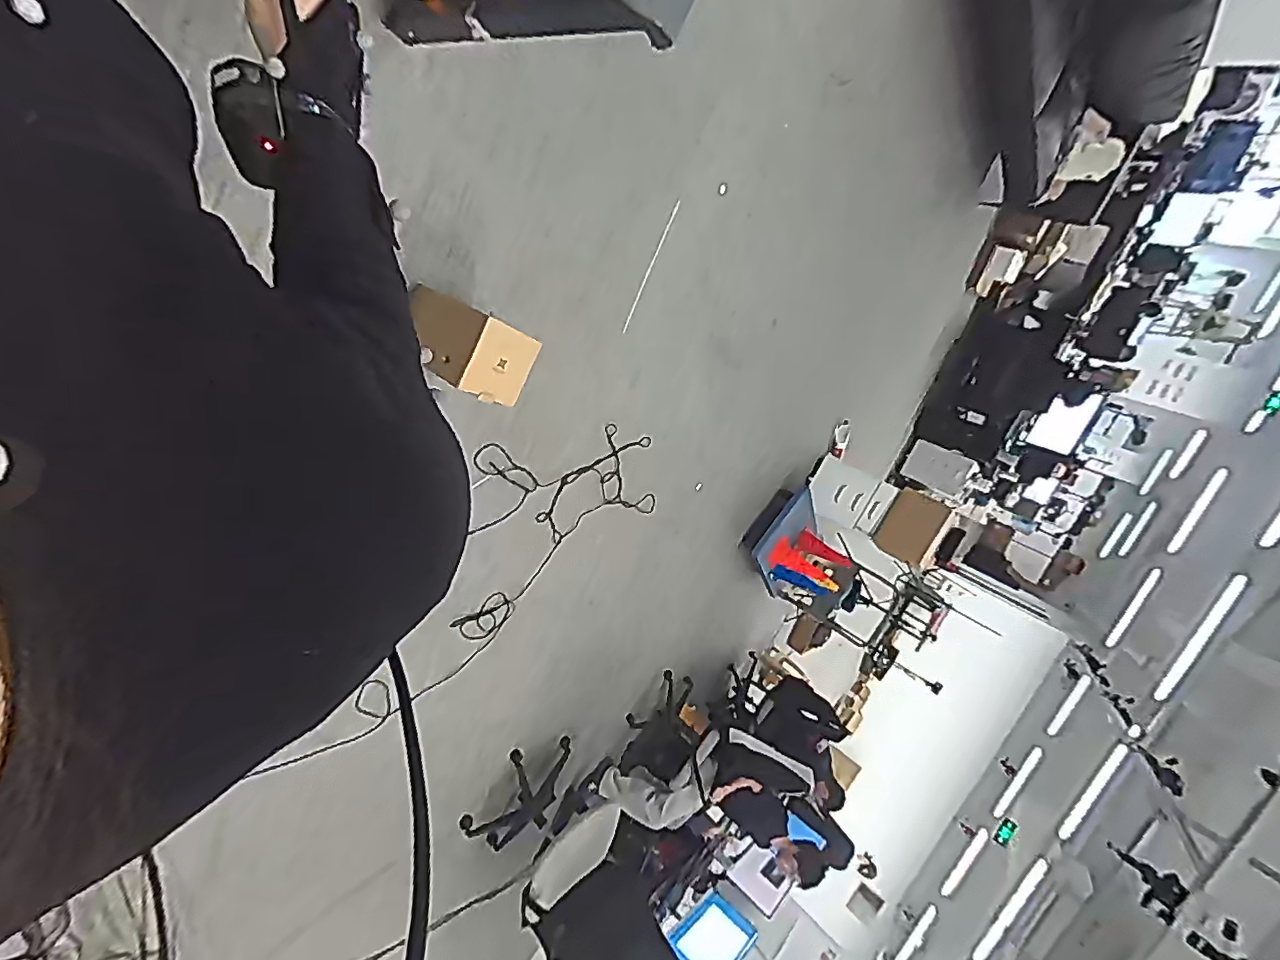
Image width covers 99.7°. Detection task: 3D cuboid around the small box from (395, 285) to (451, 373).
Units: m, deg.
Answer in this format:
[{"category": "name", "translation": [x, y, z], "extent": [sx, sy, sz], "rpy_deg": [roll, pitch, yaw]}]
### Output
[{"category": "small box", "translation": [-0.489, -0.361, 1.365], "extent": [0.168, 0.176, 0.179], "rpy_deg": [19, 101, -55]}]

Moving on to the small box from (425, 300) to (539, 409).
[{"category": "small box", "translation": [-0.376, -0.294, 1.269], "extent": [0.168, 0.176, 0.179], "rpy_deg": [16, 102, -56]}]
